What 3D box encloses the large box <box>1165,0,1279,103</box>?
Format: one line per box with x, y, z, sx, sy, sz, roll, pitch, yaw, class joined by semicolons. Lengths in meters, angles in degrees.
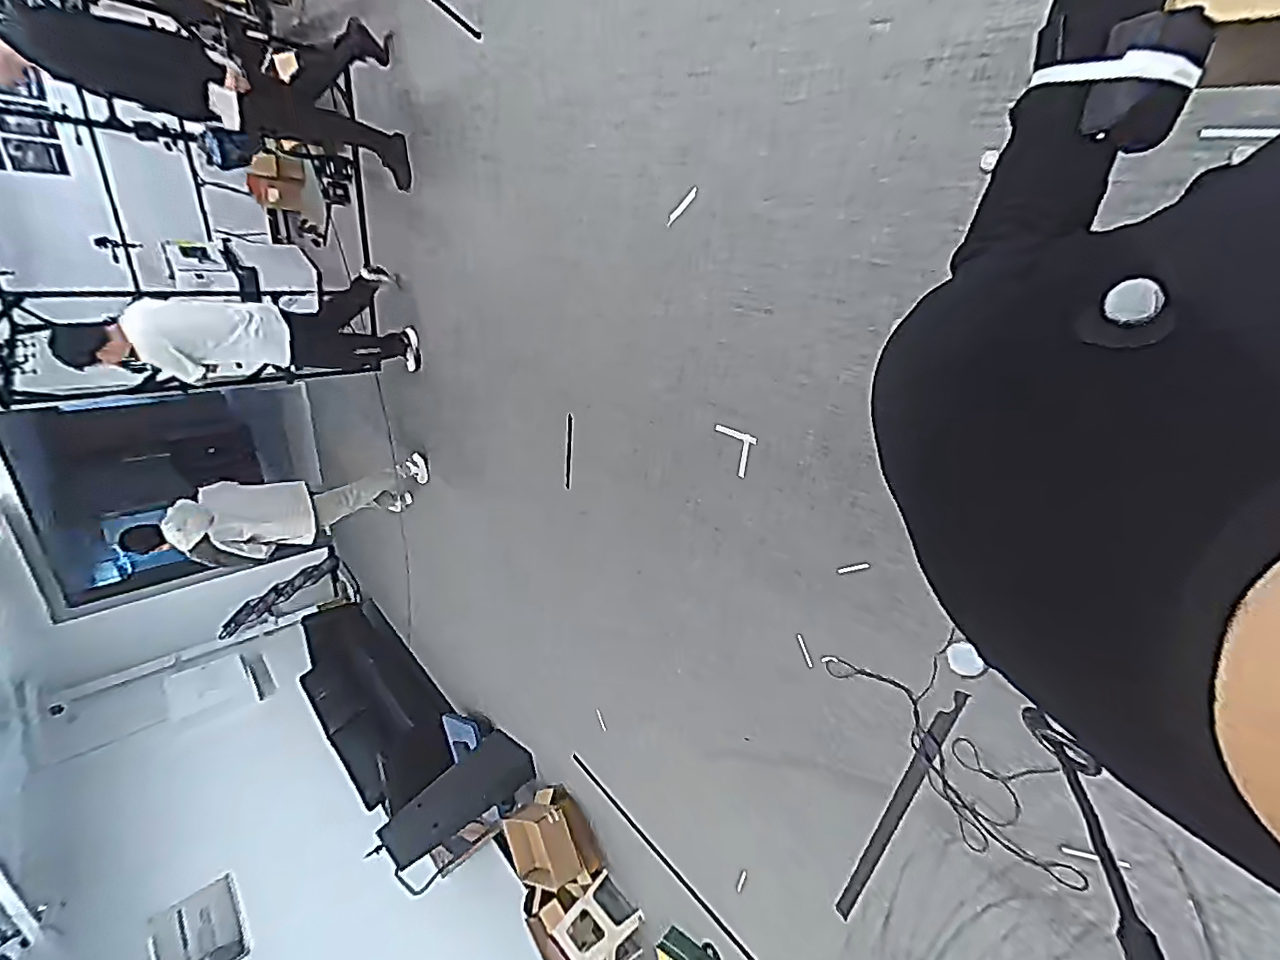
0.582;-0.400;0.261;0.408;0.320;0.320;25;127;35;large box
